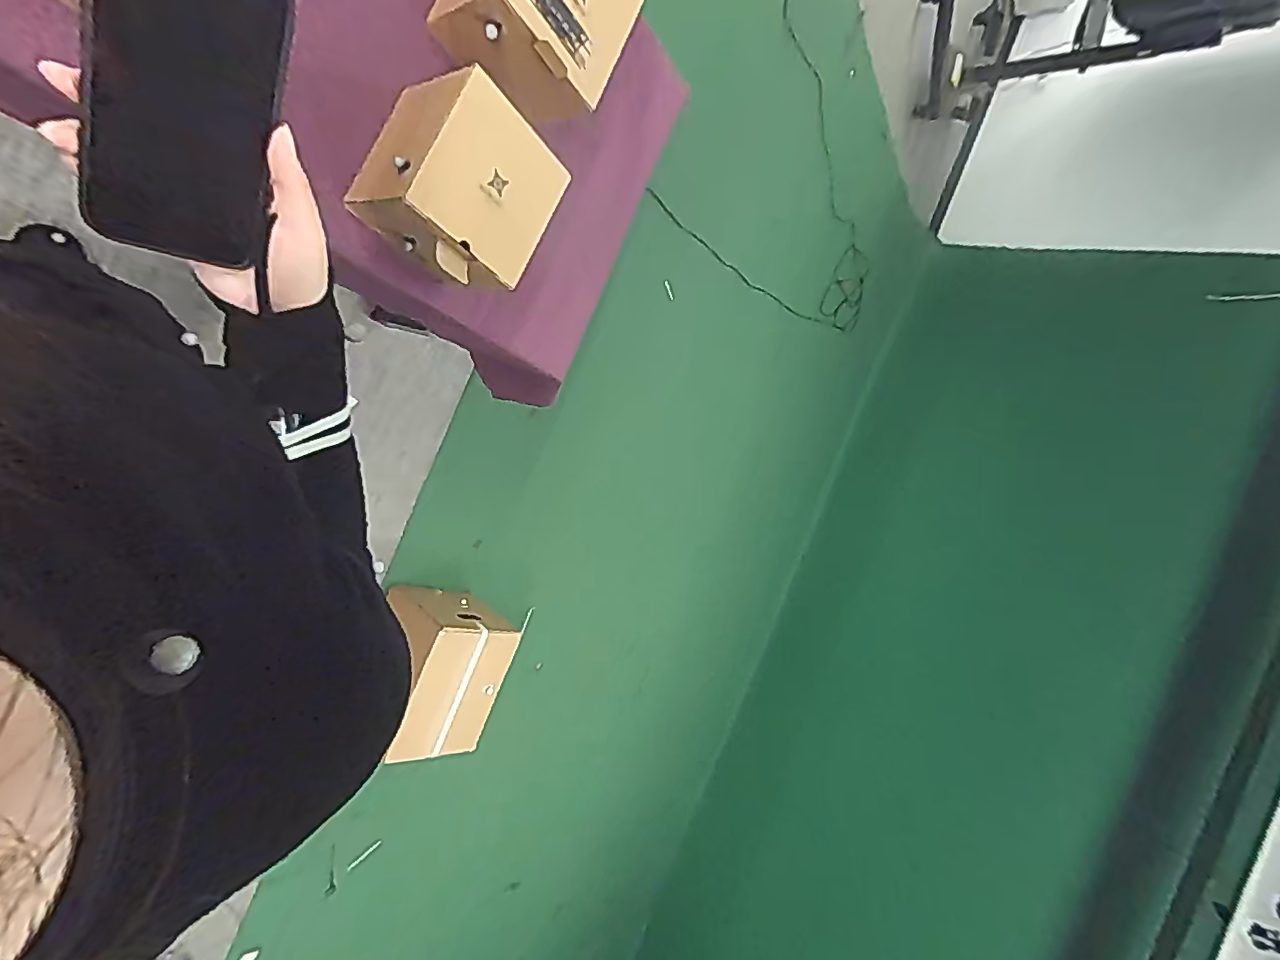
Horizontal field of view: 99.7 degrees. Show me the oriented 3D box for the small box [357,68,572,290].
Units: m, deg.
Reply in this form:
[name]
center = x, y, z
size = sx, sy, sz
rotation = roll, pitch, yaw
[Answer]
[small box]
center = -0.226, -0.371, 0.691
size = 0.168, 0.176, 0.179
rotation = 31, 84, -51
